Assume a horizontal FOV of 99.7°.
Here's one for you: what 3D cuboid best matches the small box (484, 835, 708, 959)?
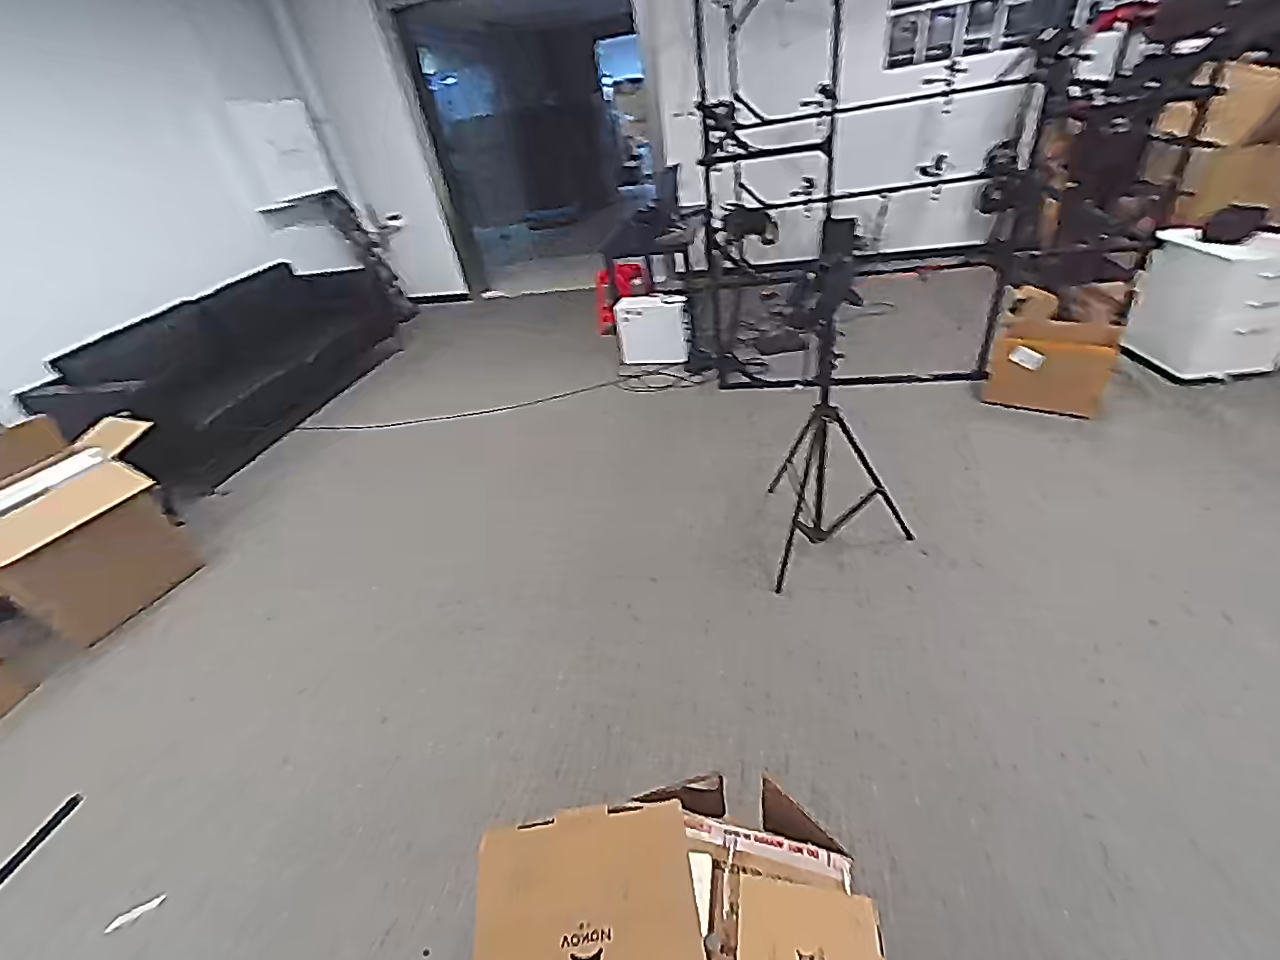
[{"bbox_3d":[-0.026,0.420,0.435,0.168,0.176,0.179,-9,45,-3],"label":"small box"}]

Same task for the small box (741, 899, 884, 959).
[{"bbox_3d":[0.219,0.682,0.700,0.179,0.176,0.168,0,37,13],"label":"small box"}]
